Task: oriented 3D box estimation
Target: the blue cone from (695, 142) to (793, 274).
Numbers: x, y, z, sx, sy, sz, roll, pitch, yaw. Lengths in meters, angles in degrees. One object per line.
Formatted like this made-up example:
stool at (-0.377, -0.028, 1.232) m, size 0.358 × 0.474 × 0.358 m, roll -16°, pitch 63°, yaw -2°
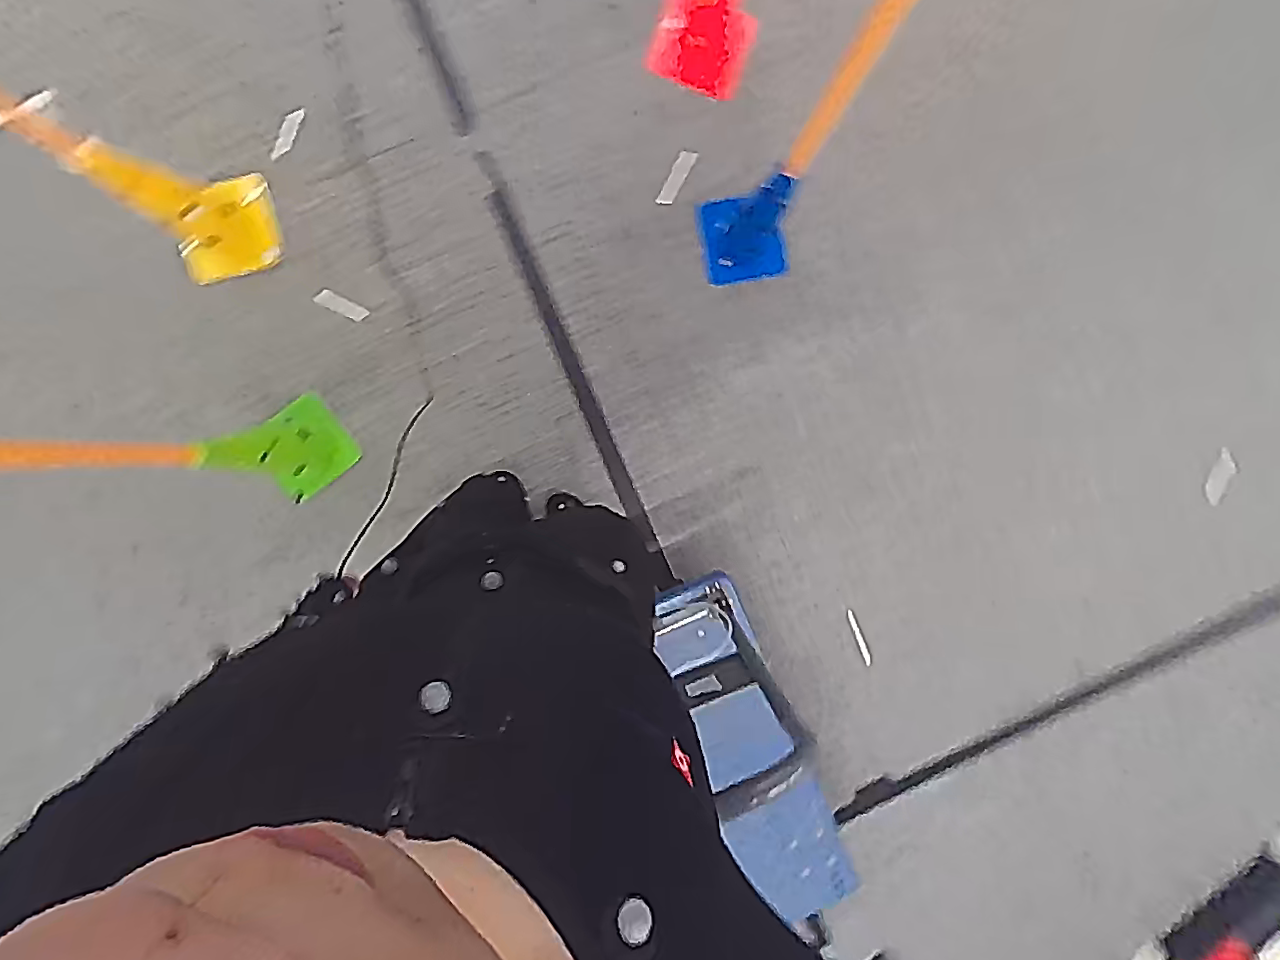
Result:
blue cone at (0.249, -0.591, 1.151) m, size 0.193 × 0.380 × 0.192 m, roll -10°, pitch 95°, yaw -3°

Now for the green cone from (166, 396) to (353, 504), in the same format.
green cone at (-0.804, -0.057, 1.113) m, size 0.200 × 0.368 × 0.202 m, roll -38°, pitch 95°, yaw 0°

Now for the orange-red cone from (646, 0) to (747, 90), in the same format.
orange-red cone at (0.141, -1.017, 1.091) m, size 0.198 × 0.360 × 0.199 m, roll 21°, pitch 95°, yaw -5°
